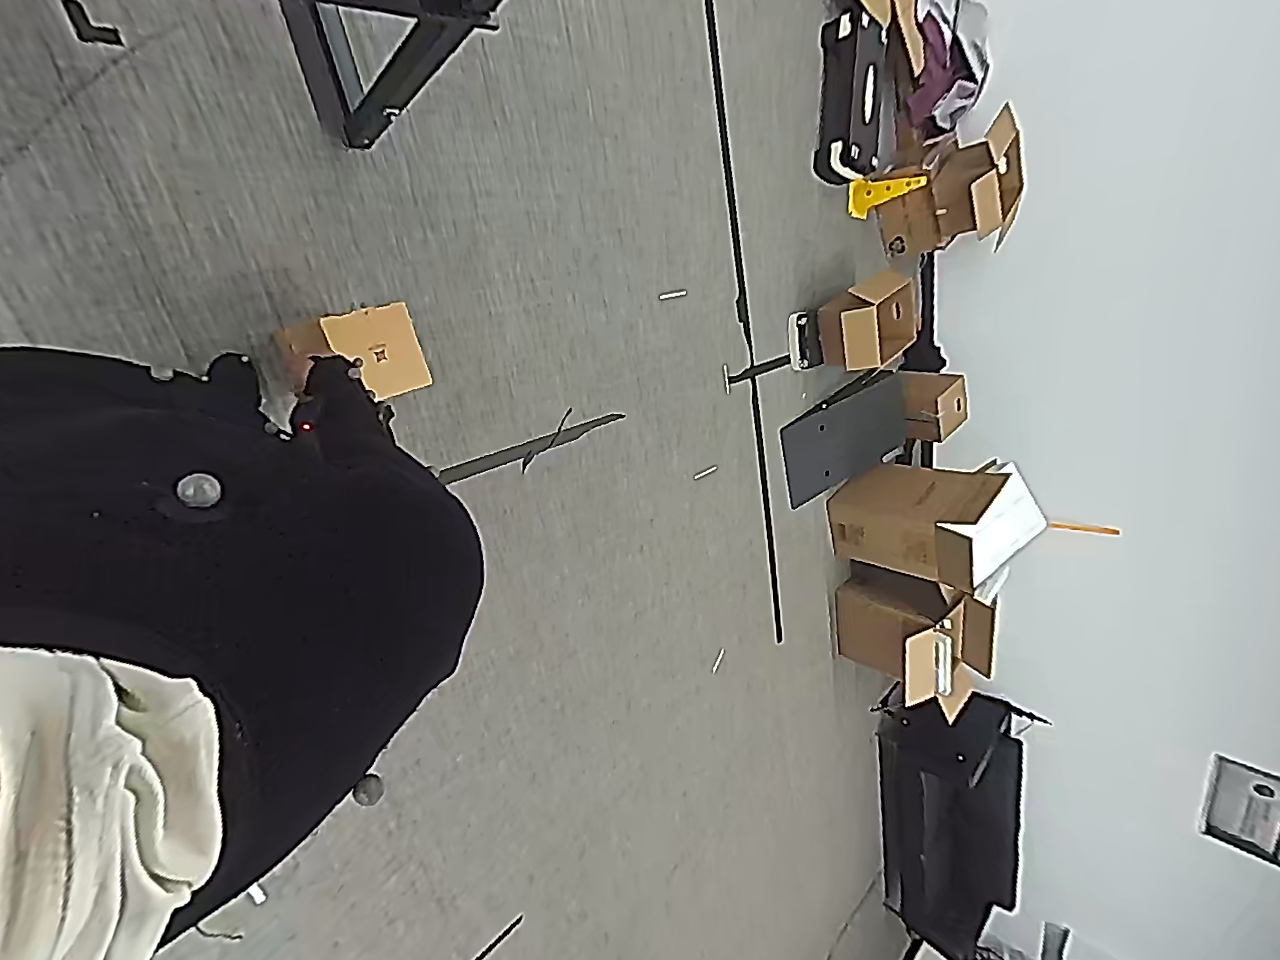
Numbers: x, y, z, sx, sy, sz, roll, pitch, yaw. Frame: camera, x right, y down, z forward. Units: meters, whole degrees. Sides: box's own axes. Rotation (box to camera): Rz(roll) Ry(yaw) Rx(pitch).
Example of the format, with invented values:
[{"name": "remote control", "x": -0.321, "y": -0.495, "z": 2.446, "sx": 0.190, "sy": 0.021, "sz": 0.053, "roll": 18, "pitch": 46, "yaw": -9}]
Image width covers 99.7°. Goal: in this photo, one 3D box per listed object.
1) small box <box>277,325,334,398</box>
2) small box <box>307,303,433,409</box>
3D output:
[{"name": "small box", "x": -0.784, "y": -0.314, "z": 1.371, "sx": 0.179, "sy": 0.176, "sz": 0.168, "roll": -27, "pitch": 115, "yaw": -34}, {"name": "small box", "x": -0.566, "y": -0.262, "z": 1.133, "sx": 0.168, "sy": 0.176, "sz": 0.179, "roll": -29, "pitch": 116, "yaw": -34}]
